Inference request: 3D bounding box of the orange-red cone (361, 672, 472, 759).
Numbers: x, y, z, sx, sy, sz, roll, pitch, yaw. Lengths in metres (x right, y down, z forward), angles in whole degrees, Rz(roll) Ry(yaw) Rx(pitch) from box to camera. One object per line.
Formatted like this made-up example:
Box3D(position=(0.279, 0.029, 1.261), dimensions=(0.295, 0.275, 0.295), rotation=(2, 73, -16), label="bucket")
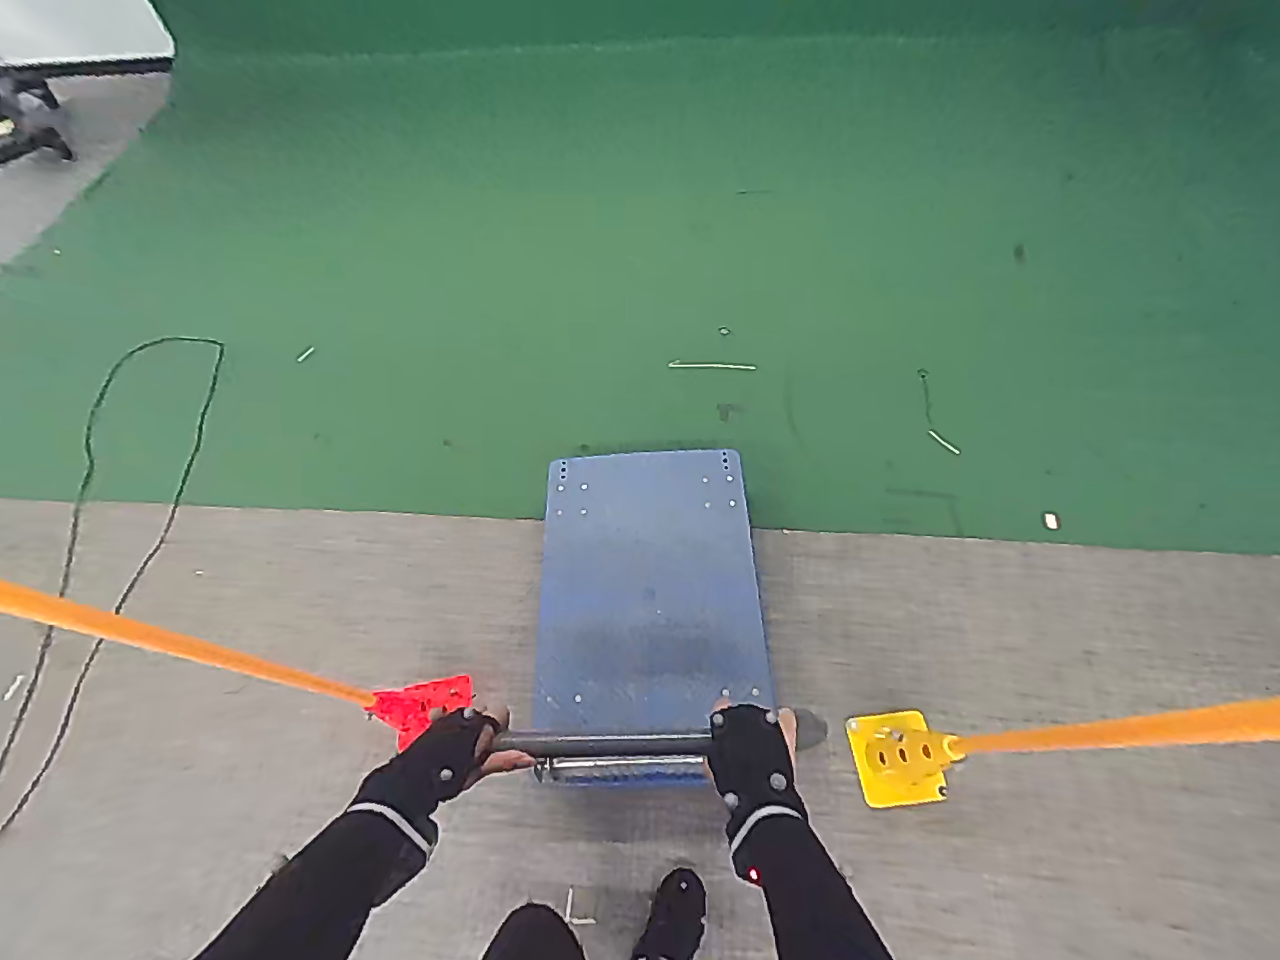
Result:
Box3D(position=(-0.563, 0.544, 1.298), dimensions=(0.199, 0.360, 0.198), rotation=(-12, 60, 0), label="orange-red cone")
